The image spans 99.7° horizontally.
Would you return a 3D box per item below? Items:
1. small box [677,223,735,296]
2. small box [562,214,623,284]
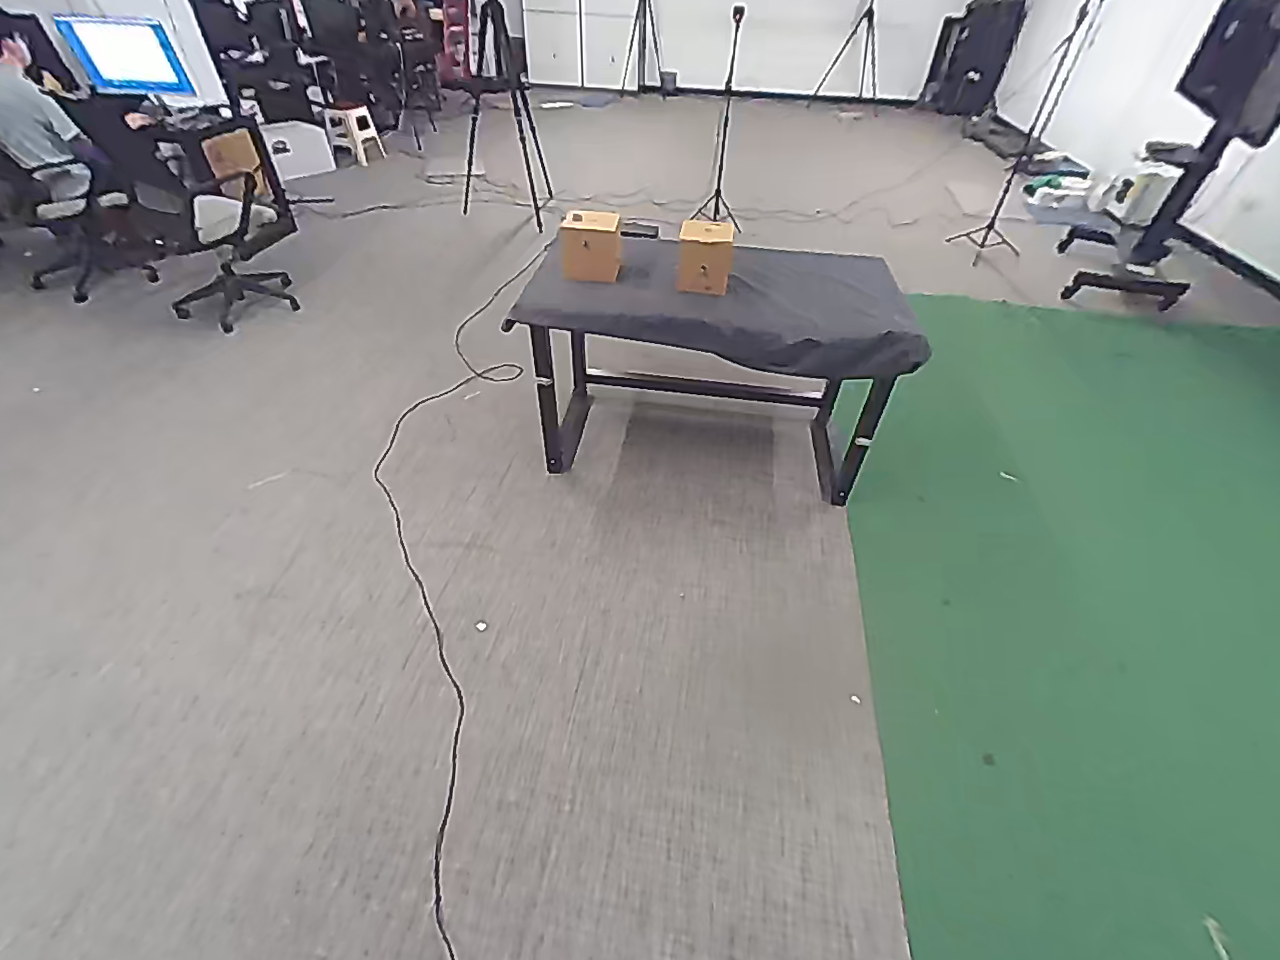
[{"bbox_3d":[0.212,-0.712,1.752,0.168,0.176,0.179,8,44,6],"label":"small box"},{"bbox_3d":[-0.153,-0.763,1.789,0.179,0.176,0.168,5,43,2],"label":"small box"}]
